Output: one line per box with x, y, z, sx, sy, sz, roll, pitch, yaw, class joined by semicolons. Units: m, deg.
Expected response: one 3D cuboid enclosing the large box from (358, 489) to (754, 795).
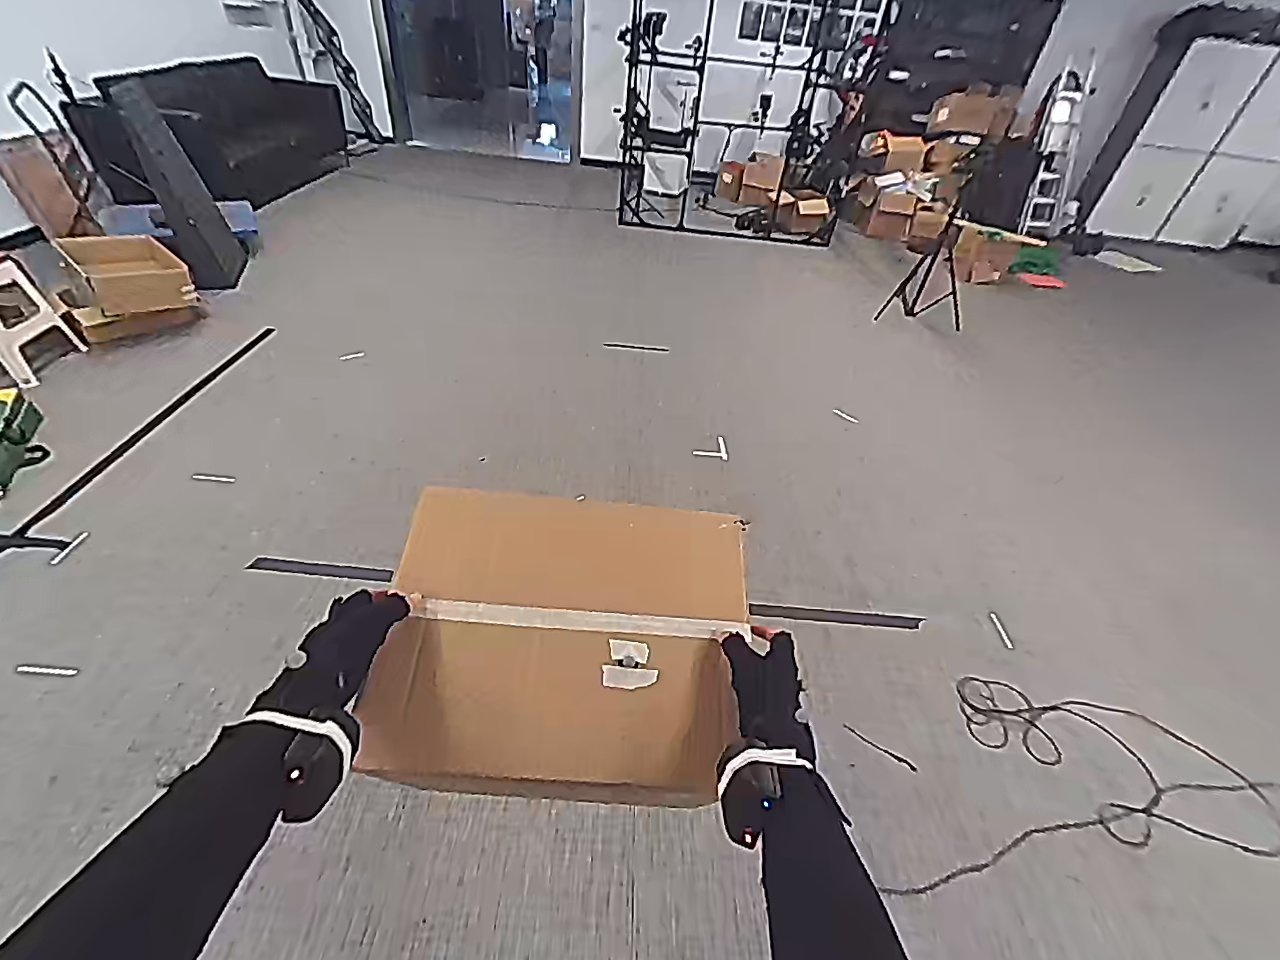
-0.093;0.237;0.742;0.408;0.320;0.320;6;57;-4;large box
